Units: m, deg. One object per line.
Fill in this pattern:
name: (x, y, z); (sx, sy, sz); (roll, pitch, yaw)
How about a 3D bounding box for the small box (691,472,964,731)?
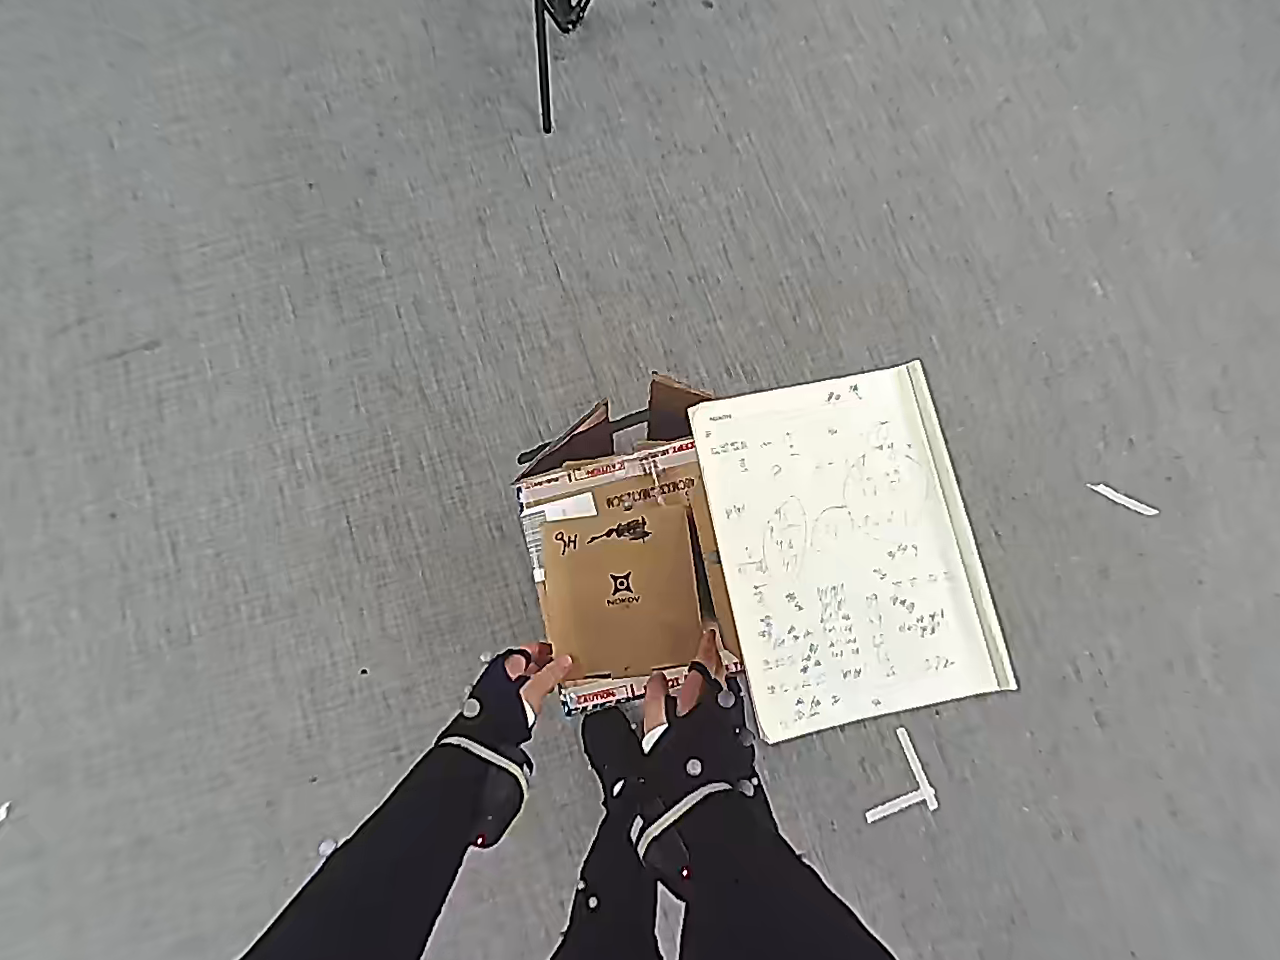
small box: (0.152, 0.104, 0.504); (0.168, 0.176, 0.179); (-12, 83, -4)
